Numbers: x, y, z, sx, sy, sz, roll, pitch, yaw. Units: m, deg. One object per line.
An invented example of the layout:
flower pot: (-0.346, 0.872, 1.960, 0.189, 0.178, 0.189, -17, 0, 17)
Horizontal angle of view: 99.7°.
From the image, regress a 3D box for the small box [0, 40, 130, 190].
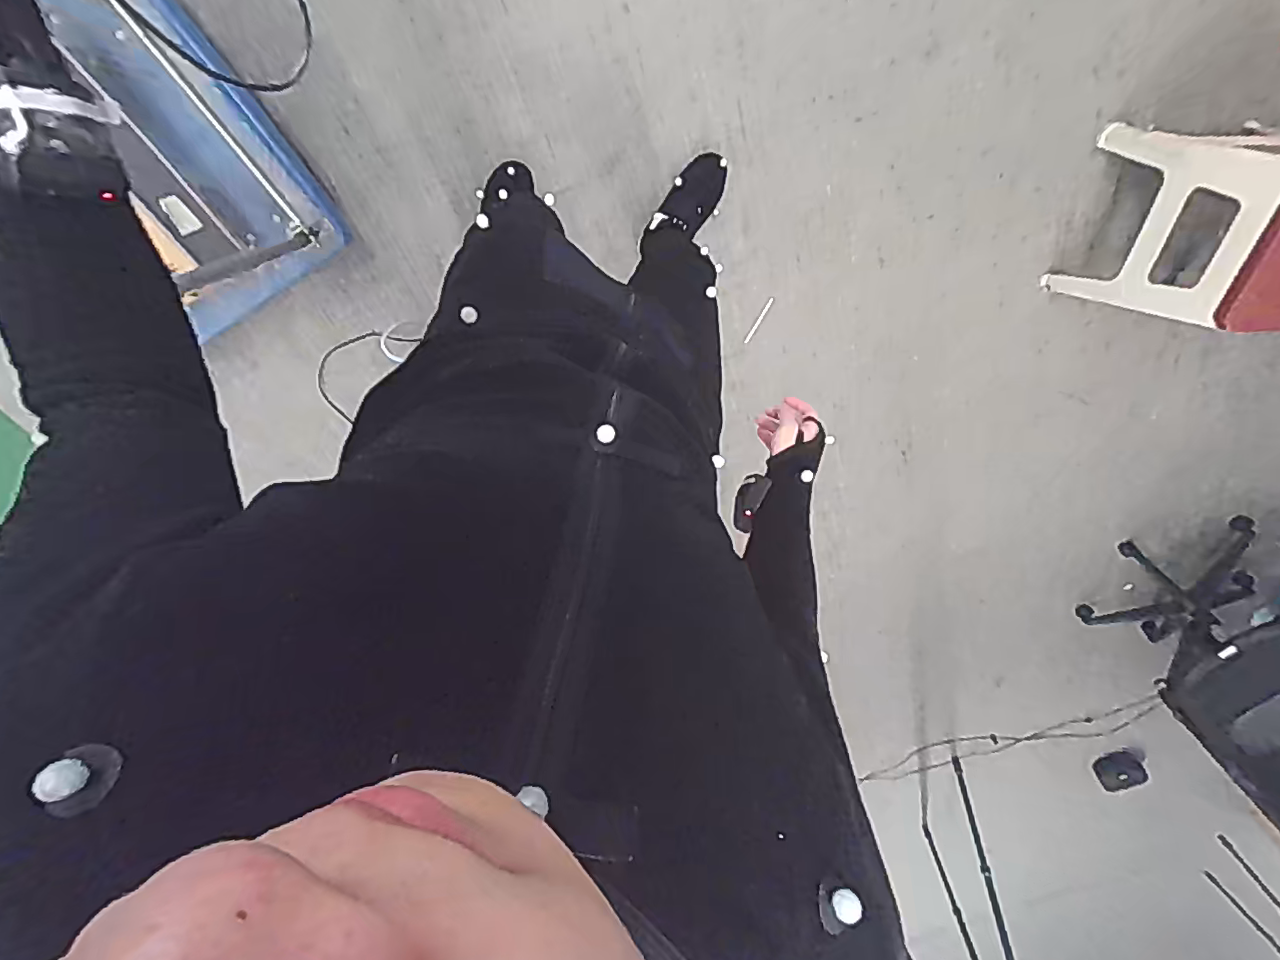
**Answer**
small box: (-1.117, -0.665, 0.994, 0.179, 0.176, 0.168, -25, 122, 13)
